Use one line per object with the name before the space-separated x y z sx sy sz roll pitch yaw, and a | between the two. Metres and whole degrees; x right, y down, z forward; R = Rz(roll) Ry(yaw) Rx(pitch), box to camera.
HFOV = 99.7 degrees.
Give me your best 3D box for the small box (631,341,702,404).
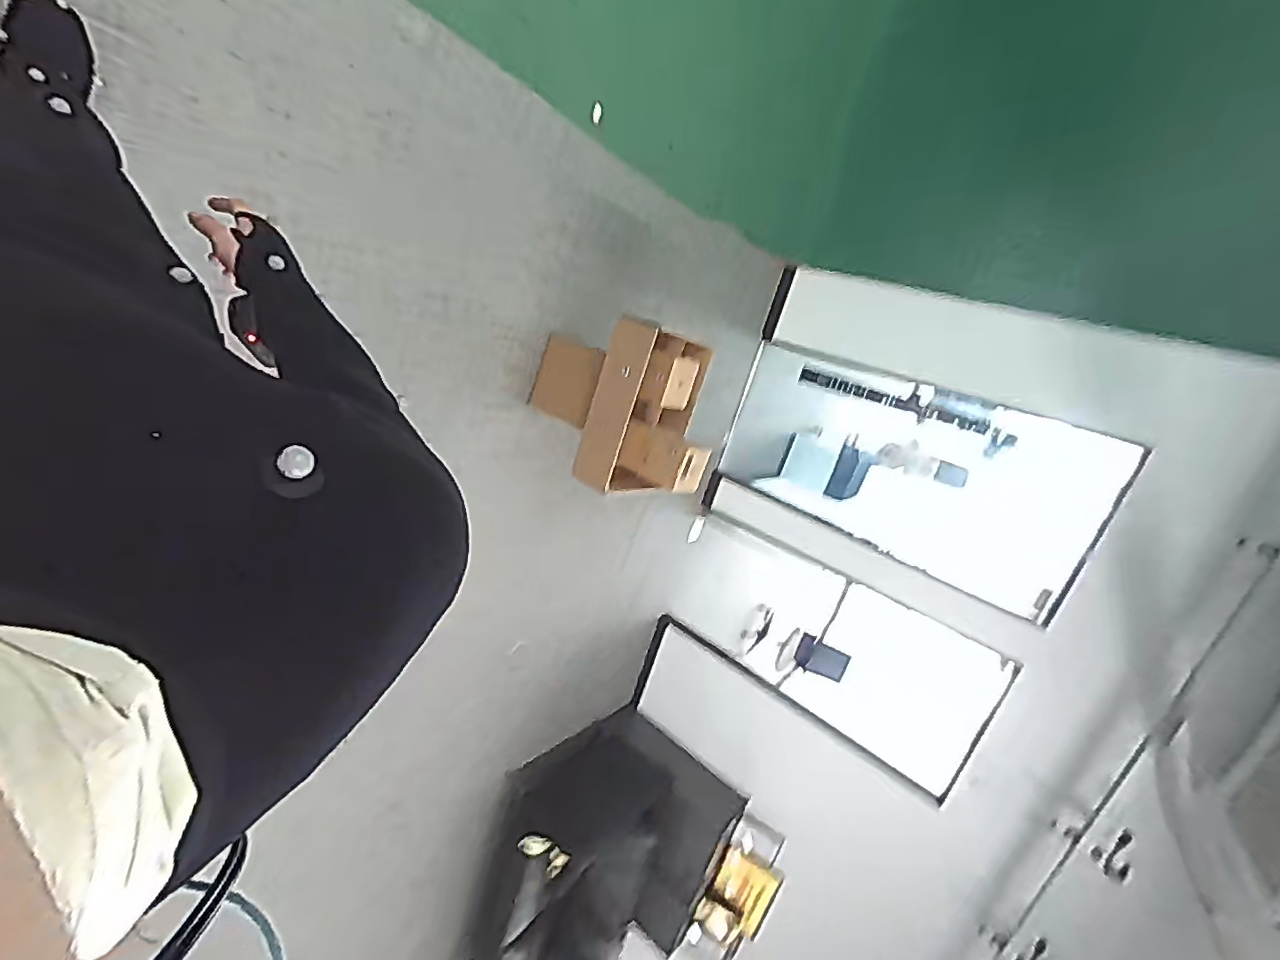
small box | 0.093 -0.393 1.970 0.168 0.176 0.179 -4 118 -54
